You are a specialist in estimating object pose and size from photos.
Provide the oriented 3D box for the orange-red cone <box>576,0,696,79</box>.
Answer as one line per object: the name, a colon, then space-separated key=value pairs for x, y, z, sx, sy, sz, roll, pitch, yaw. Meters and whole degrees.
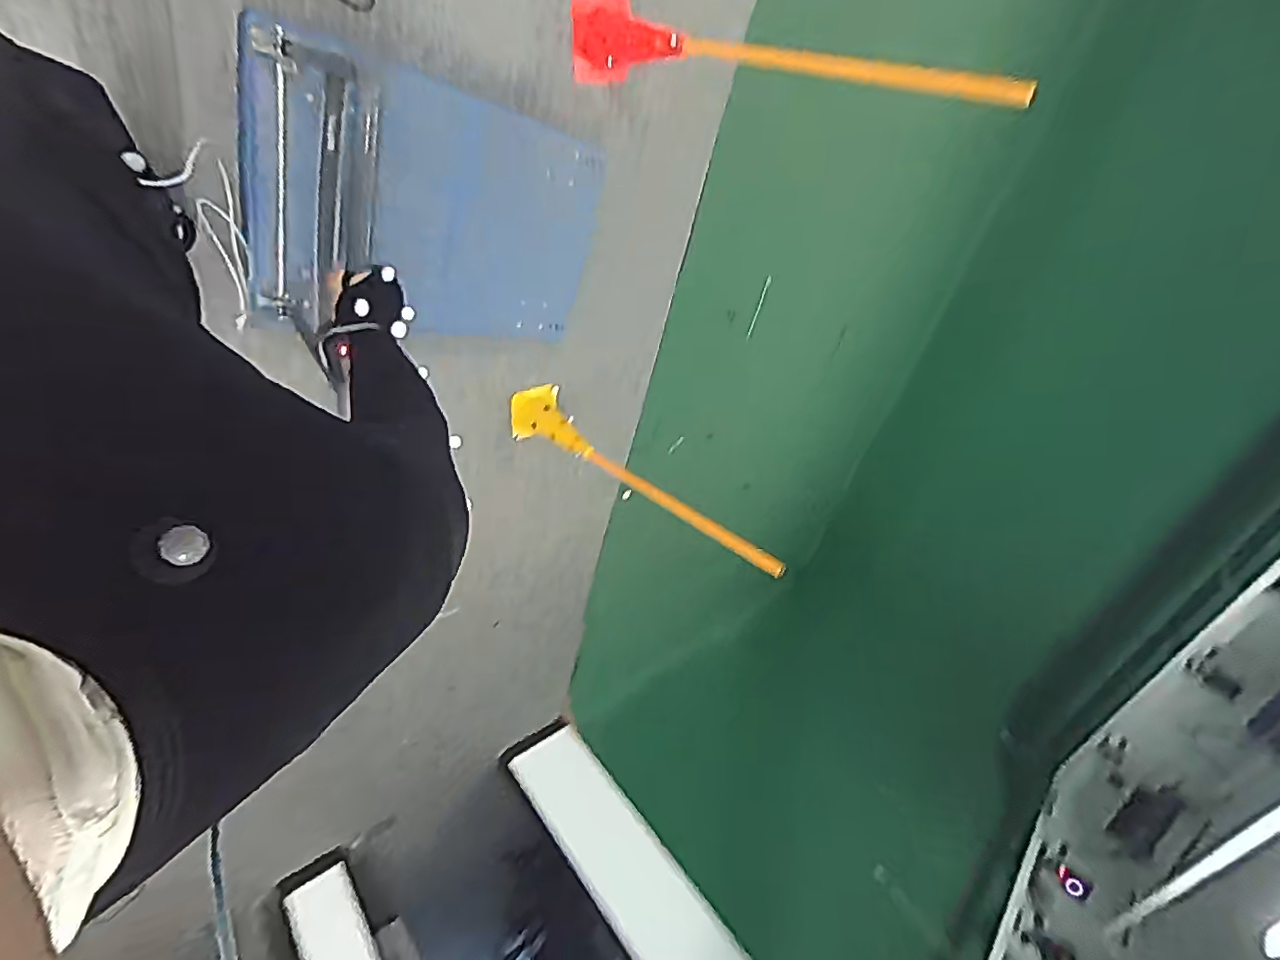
orange-red cone: x=0.011 y=-1.187 z=1.448 sx=0.198 sy=0.360 sz=0.199 roll=-27 pitch=138 yaw=-32
